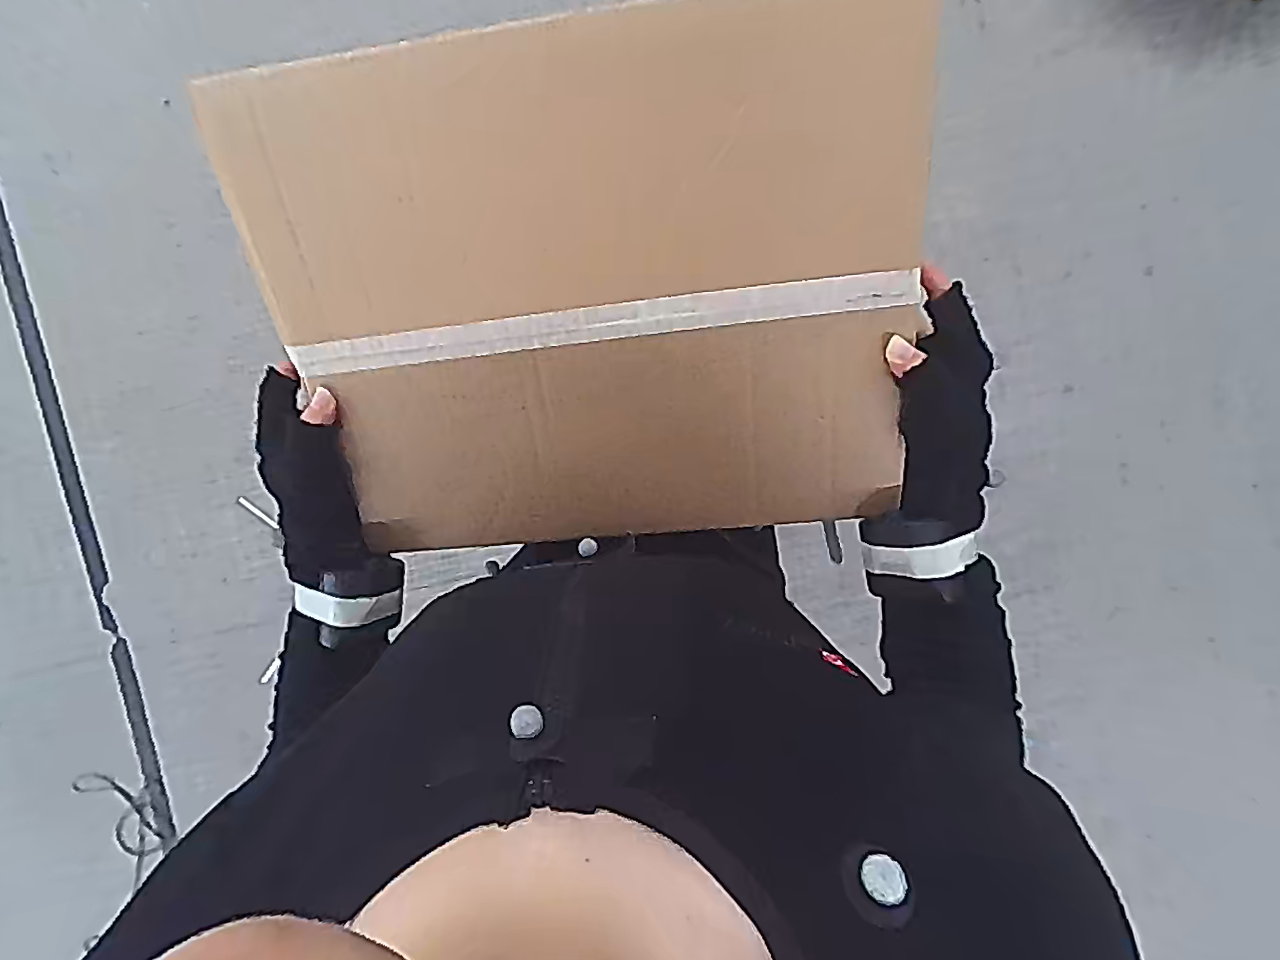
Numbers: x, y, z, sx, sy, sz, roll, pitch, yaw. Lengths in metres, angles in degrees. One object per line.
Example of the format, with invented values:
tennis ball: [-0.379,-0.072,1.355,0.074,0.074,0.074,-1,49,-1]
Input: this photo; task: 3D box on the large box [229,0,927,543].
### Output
large box: [-0.023,-0.168,0.493,0.408,0.320,0.320,-5,116,6]
